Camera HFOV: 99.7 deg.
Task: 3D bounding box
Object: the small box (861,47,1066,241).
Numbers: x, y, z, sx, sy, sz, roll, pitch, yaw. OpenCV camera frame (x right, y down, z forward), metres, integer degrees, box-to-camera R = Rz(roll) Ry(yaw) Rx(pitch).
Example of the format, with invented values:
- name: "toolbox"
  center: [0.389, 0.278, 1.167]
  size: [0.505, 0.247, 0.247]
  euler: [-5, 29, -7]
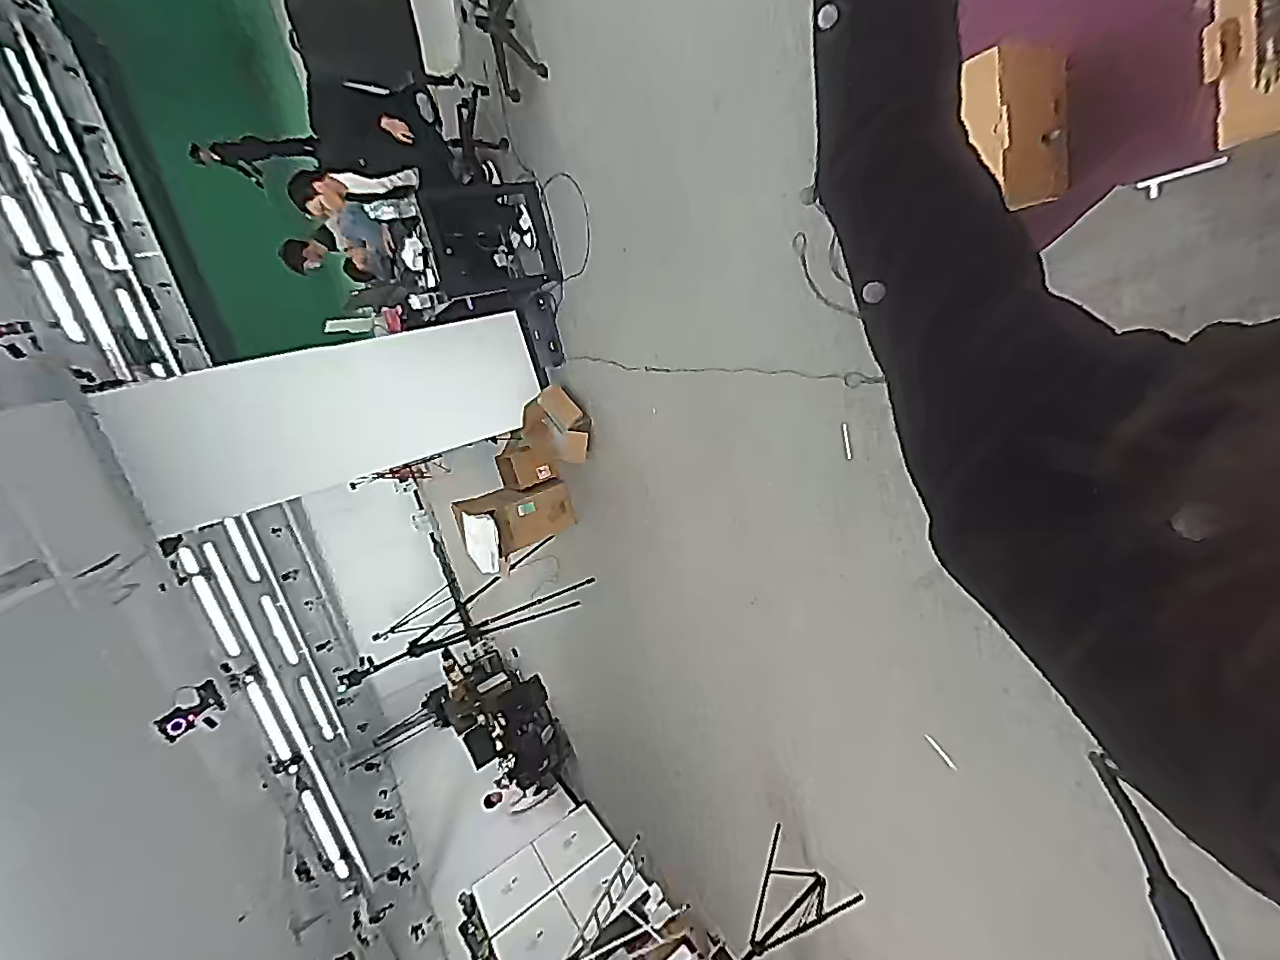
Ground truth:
- name: "small box"
  center: [0.428, -0.431, 0.719]
  size: [0.179, 0.176, 0.168]
  euler: [10, 118, 56]
